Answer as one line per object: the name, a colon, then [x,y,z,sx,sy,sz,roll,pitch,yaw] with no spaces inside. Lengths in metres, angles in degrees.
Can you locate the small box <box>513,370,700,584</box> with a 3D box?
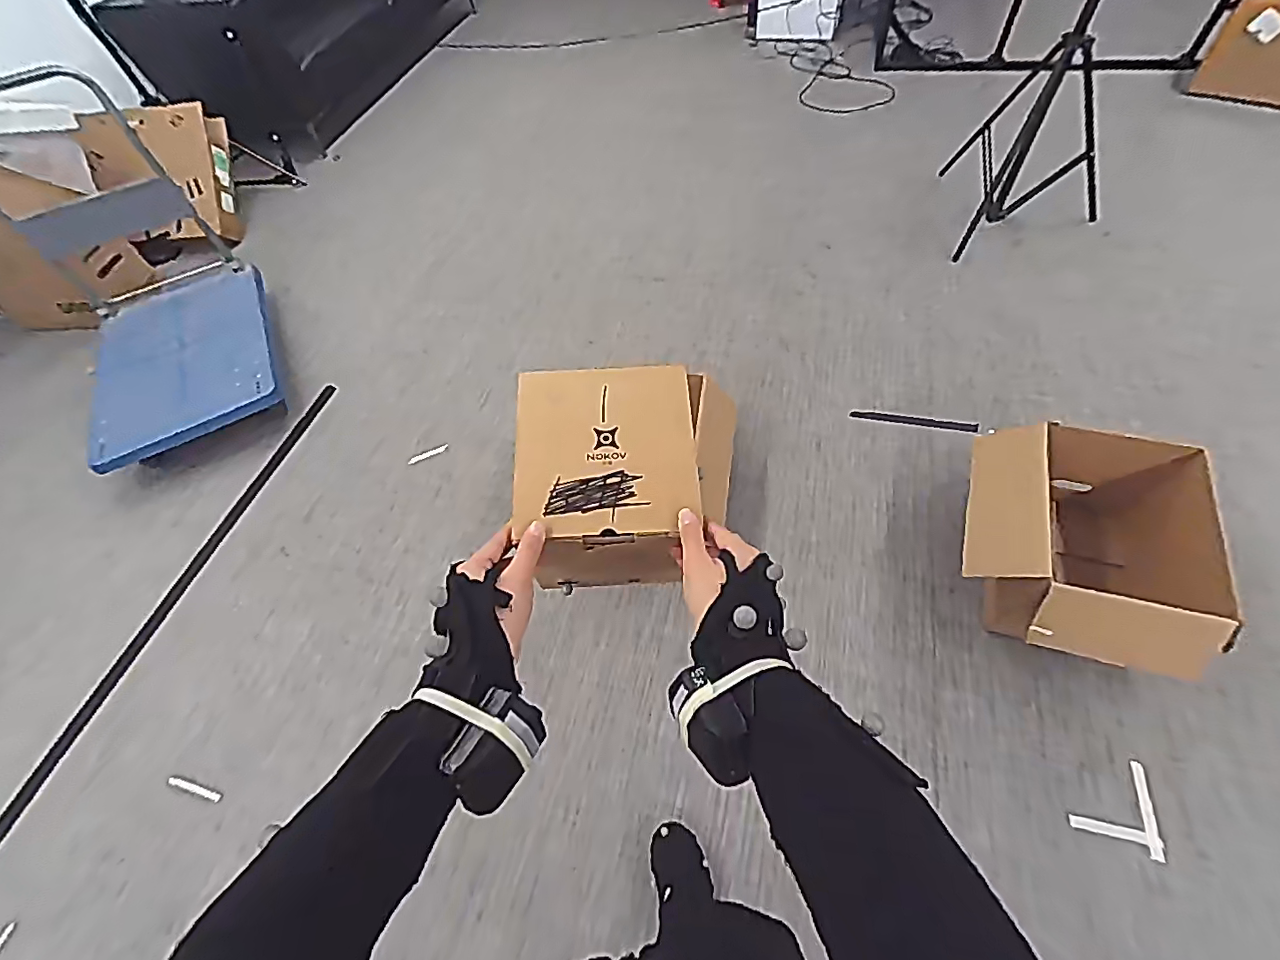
small box: [-0.032,0.007,0.571,0.168,0.176,0.179,-3,64,-2]
